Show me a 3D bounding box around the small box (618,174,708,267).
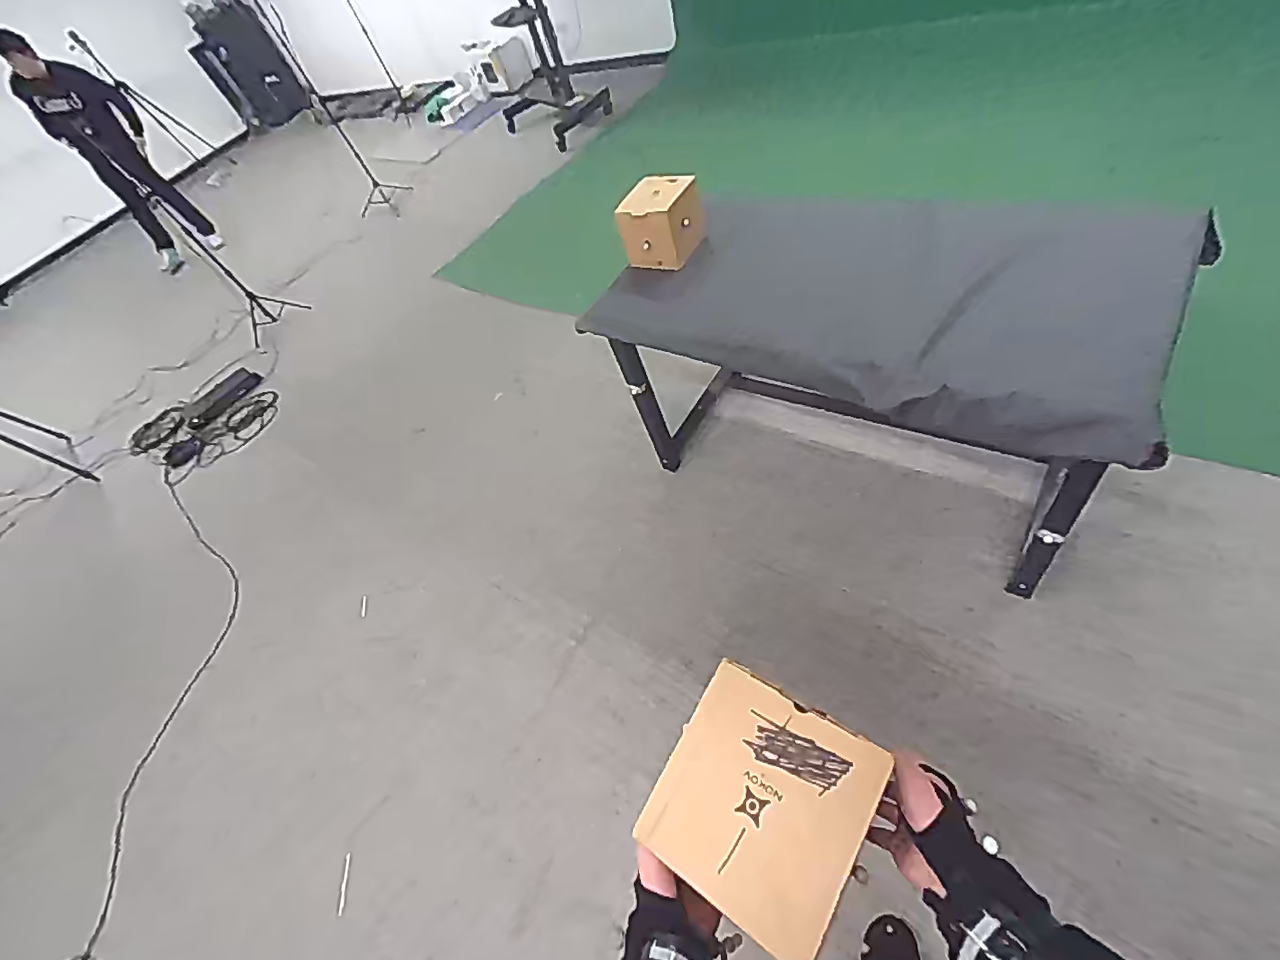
[{"bbox_3d":[0.072,-0.712,1.490,0.168,0.176,0.179,18,63,30],"label":"small box"}]
